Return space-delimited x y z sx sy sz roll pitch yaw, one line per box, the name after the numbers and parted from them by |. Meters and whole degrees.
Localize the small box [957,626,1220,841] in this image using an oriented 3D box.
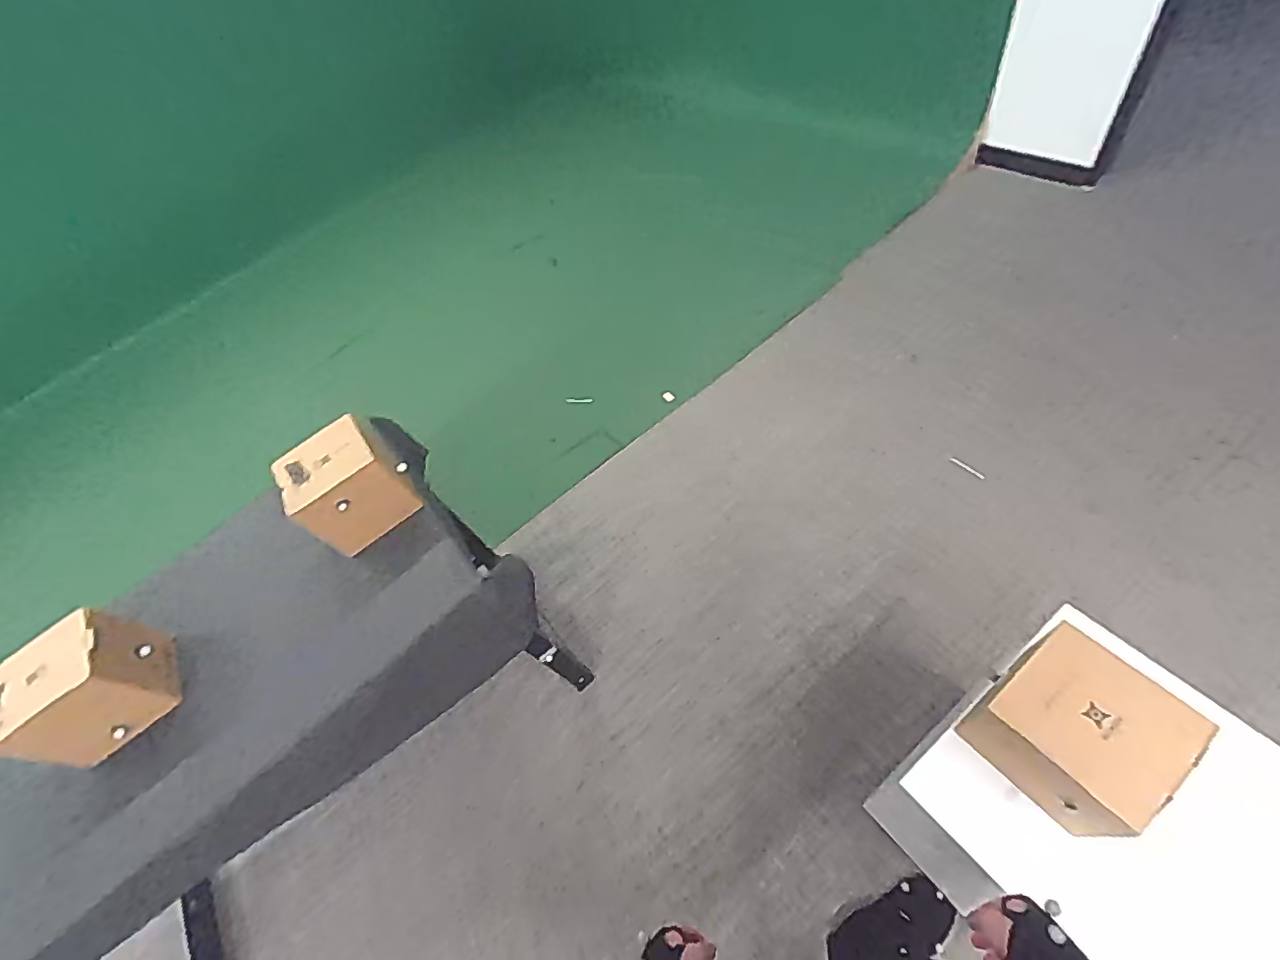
0.558 0.329 0.700 0.168 0.176 0.179 -38 56 -16 | small box

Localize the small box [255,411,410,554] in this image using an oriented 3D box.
-0.580 0.009 1.032 0.179 0.176 0.168 -36 55 -13 | small box

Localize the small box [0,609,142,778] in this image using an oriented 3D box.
-0.970 0.351 0.885 0.179 0.176 0.168 -38 55 -15 | small box
